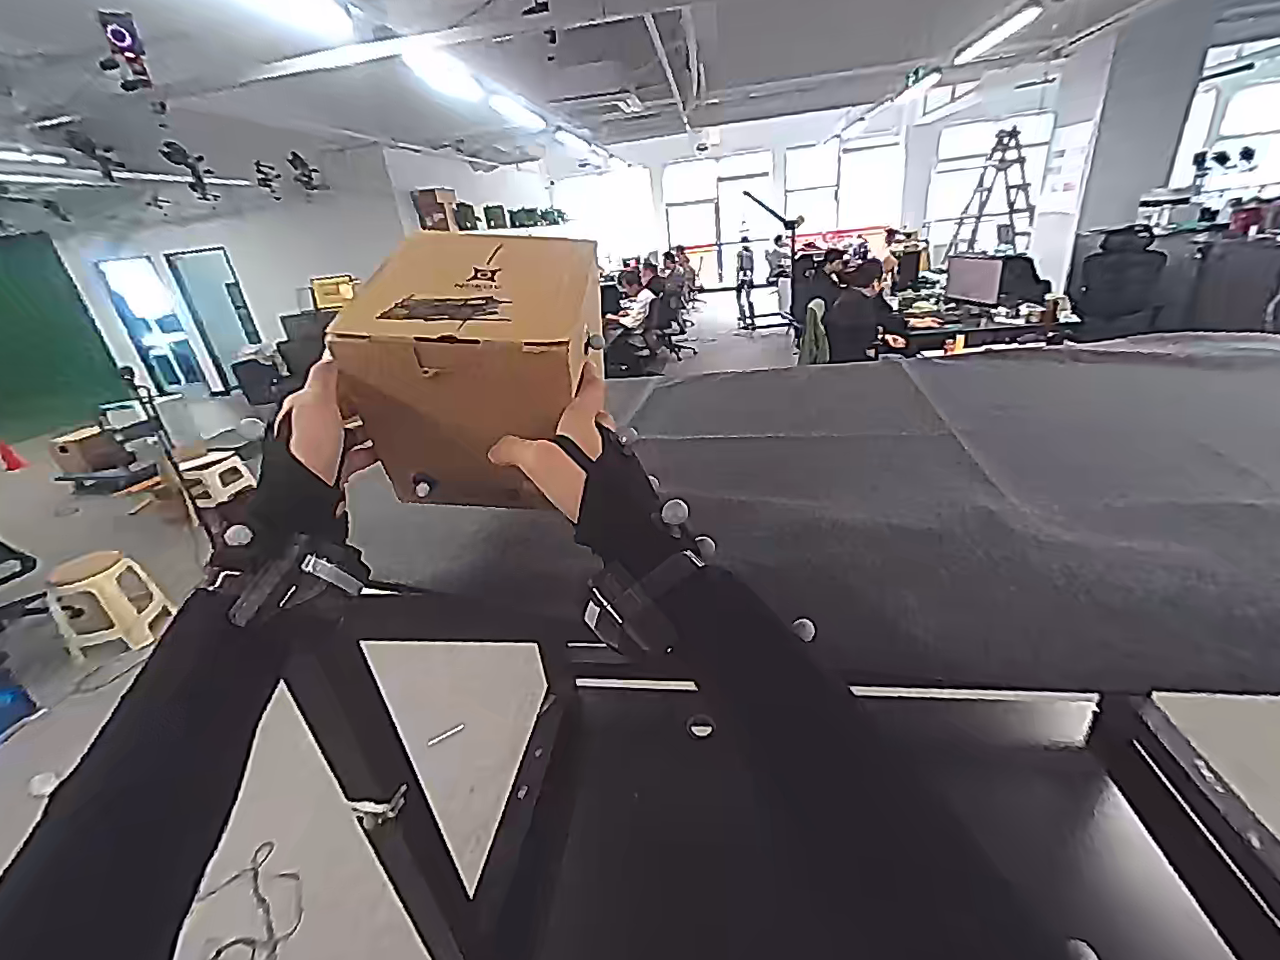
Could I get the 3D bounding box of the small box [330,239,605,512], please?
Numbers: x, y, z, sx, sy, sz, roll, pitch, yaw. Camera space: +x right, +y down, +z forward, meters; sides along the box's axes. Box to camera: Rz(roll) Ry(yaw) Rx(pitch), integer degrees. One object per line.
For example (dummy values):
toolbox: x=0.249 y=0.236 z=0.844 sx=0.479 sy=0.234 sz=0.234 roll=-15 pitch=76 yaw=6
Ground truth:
small box: x=-0.121 y=-0.089 z=0.470 sx=0.168 sy=0.176 sz=0.179 roll=3 pitch=45 yaw=2
